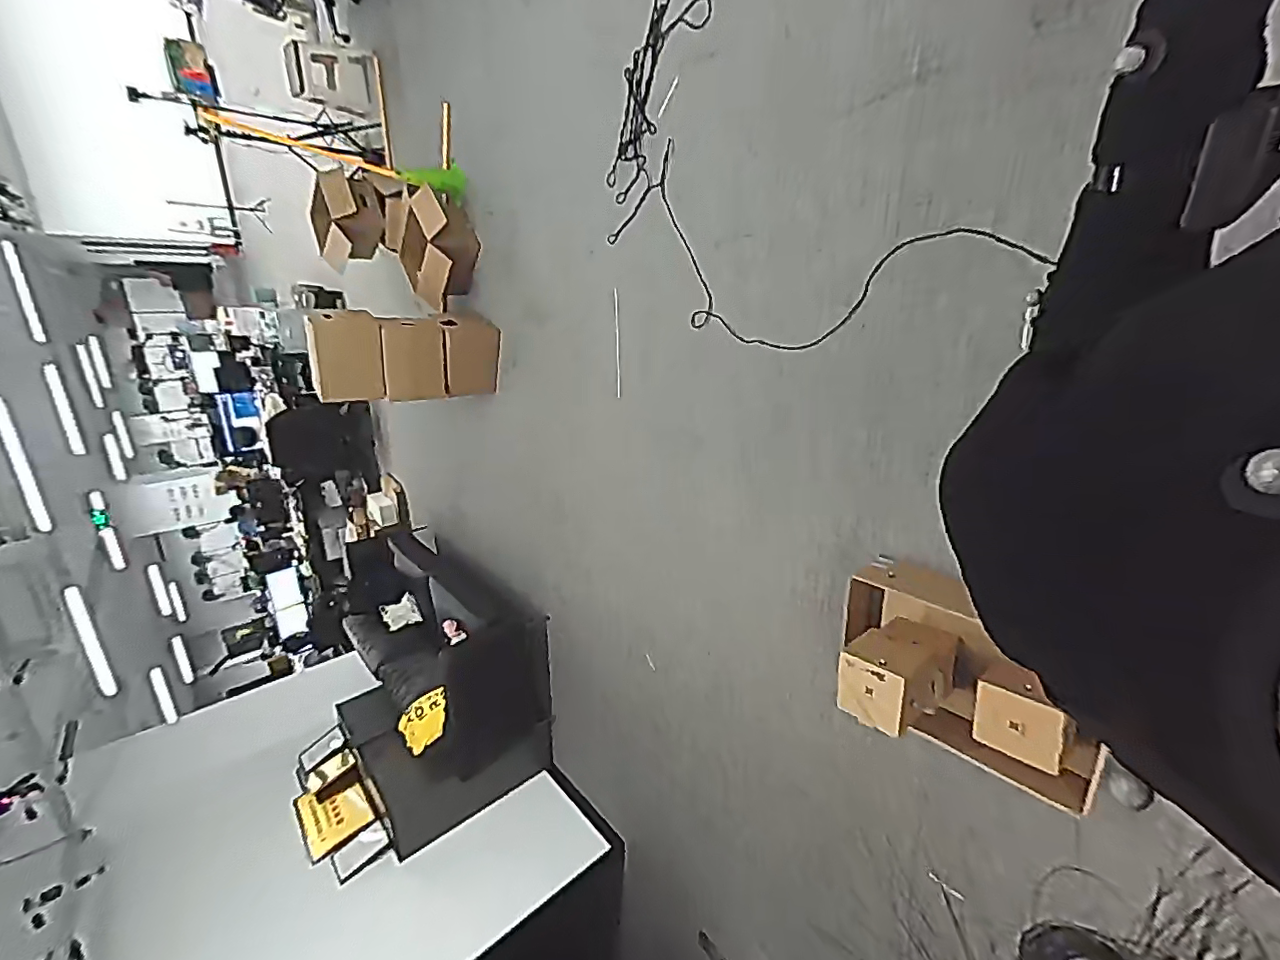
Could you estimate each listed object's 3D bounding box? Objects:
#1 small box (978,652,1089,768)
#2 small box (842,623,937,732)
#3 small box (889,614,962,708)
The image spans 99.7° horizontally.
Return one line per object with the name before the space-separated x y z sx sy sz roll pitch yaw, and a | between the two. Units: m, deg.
small box | 0.952 0.542 1.307 0.179 0.176 0.168 14 112 50
small box | 0.648 0.504 1.405 0.168 0.176 0.179 16 114 47
small box | 0.777 0.494 1.508 0.179 0.176 0.168 10 109 48
